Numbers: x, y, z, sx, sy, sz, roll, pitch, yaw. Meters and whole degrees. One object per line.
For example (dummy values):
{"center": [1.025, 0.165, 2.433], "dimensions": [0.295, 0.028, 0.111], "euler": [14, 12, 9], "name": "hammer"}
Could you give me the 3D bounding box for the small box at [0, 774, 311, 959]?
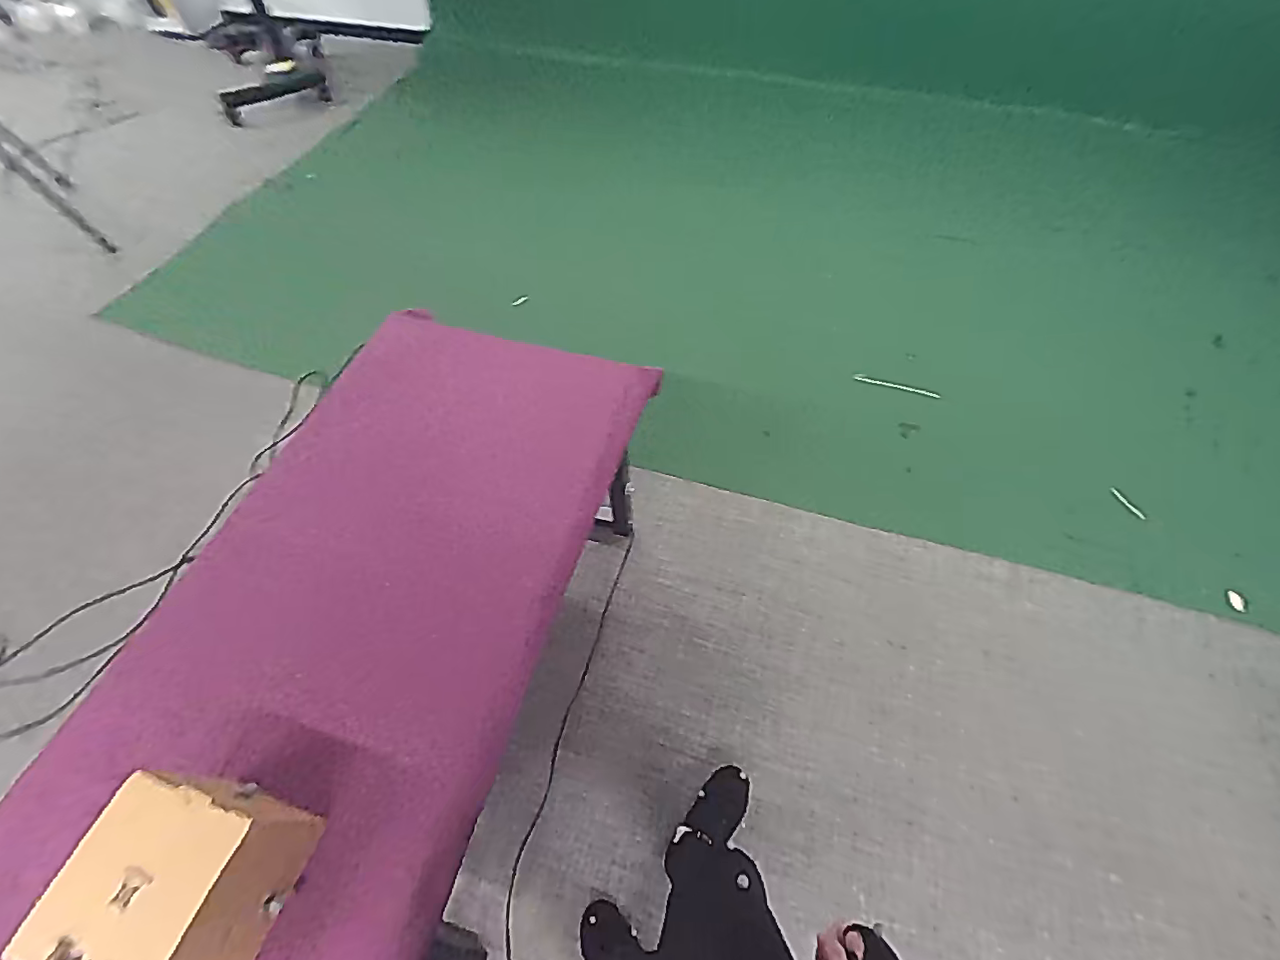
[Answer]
{"center": [-0.521, 0.466, 0.619], "dimensions": [0.168, 0.176, 0.179], "euler": [15, 58, 11], "name": "small box"}
